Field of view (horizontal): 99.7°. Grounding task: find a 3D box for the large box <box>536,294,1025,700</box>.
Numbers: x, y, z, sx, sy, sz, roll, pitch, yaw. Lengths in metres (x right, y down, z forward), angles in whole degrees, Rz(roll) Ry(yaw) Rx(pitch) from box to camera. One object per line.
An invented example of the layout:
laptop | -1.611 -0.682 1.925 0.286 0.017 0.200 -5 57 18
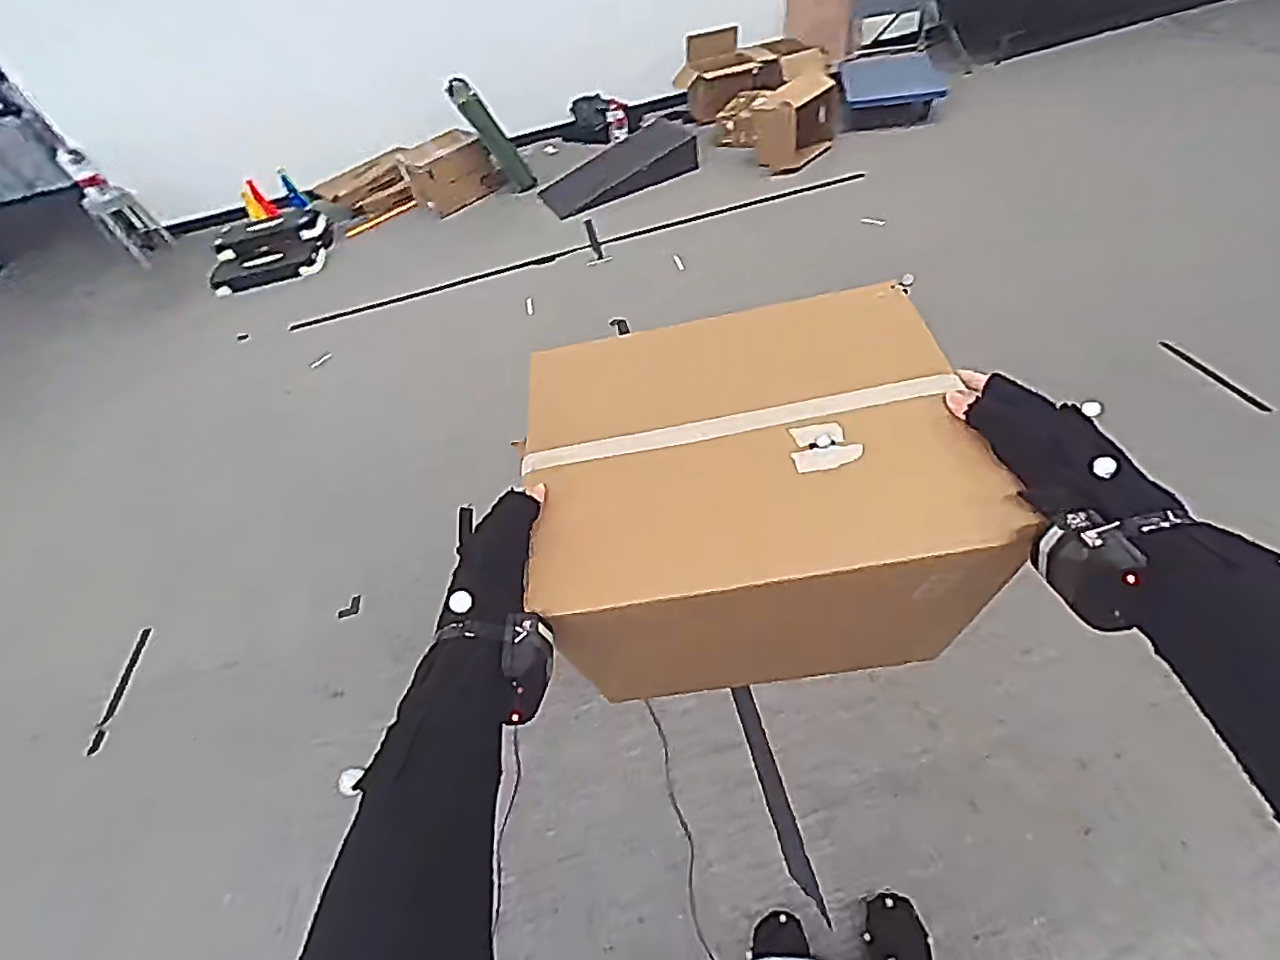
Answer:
large box | 0.114 0.038 0.639 0.408 0.320 0.320 -10 55 4
